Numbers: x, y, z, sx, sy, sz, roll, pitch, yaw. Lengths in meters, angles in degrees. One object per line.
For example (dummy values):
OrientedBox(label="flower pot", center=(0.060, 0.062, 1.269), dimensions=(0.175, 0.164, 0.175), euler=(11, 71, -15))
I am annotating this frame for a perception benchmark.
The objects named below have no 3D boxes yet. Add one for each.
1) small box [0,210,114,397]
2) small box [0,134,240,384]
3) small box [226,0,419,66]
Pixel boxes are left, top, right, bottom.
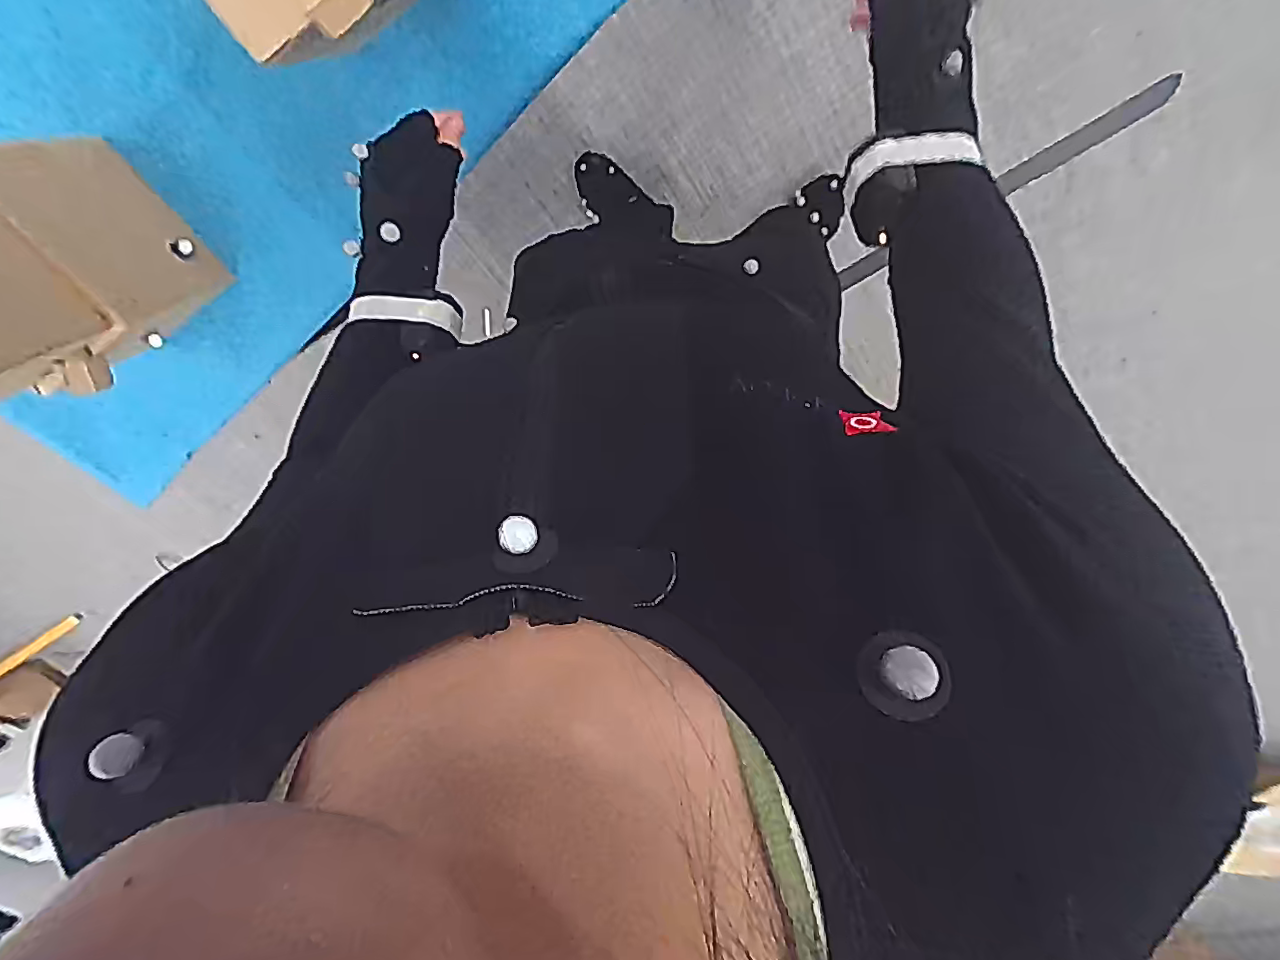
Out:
OrientedBox(label="small box", center=(-0.627, -0.143, 0.446), dimensions=(0.168, 0.176, 0.179), euler=(-21, 122, 18))
OrientedBox(label="small box", center=(-0.604, -0.233, 0.582), dimensions=(0.168, 0.176, 0.179), euler=(-25, 120, 20))
OrientedBox(label="small box", center=(-0.246, -0.446, 0.391), dimensions=(0.168, 0.179, 0.176), euler=(-22, 128, 18))
